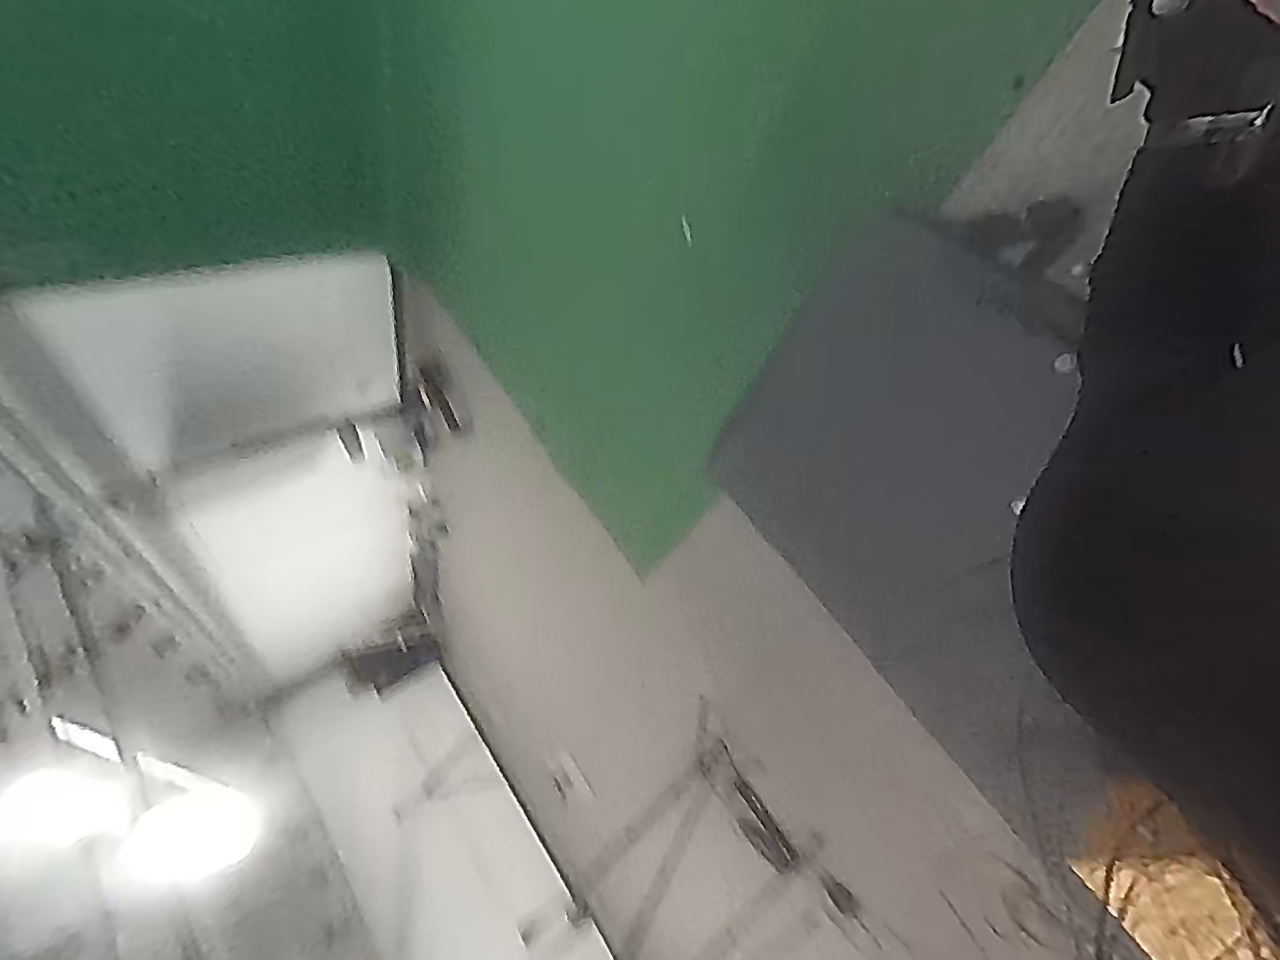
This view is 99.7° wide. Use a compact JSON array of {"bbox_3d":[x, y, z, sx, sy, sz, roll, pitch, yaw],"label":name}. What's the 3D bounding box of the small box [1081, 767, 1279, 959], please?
[{"bbox_3d":[0.700,0.481,0.649,0.168,0.176,0.179,51,144,20],"label":"small box"}]
